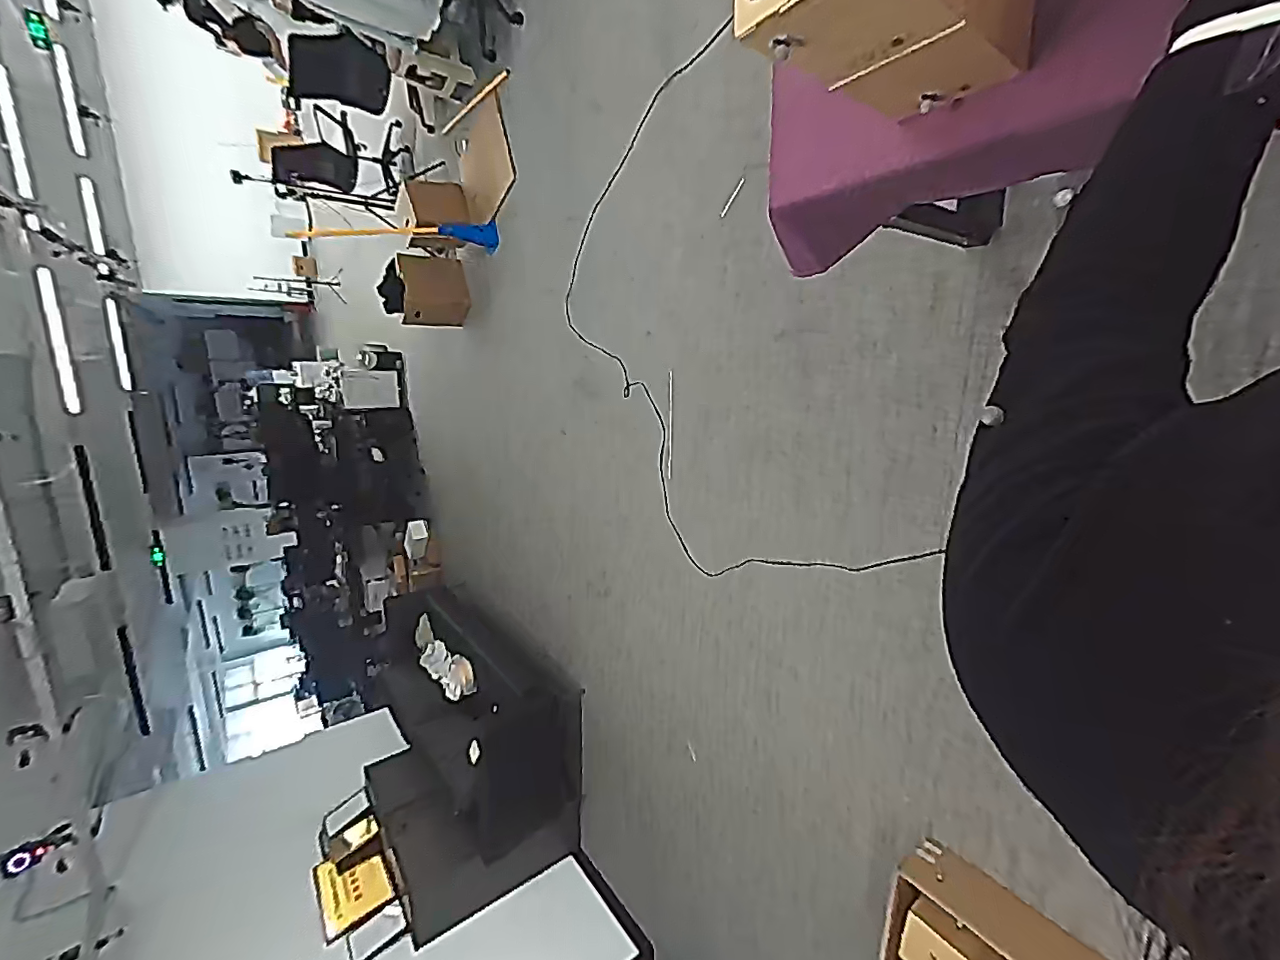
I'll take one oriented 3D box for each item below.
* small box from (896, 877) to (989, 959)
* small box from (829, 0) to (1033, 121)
[{"bbox_3d":[0.858,1.286,1.531,0.168,0.176,0.179,21,114,50],"label":"small box"},{"bbox_3d":[0.356,-0.579,0.659,0.168,0.176,0.179,15,110,52],"label":"small box"}]
